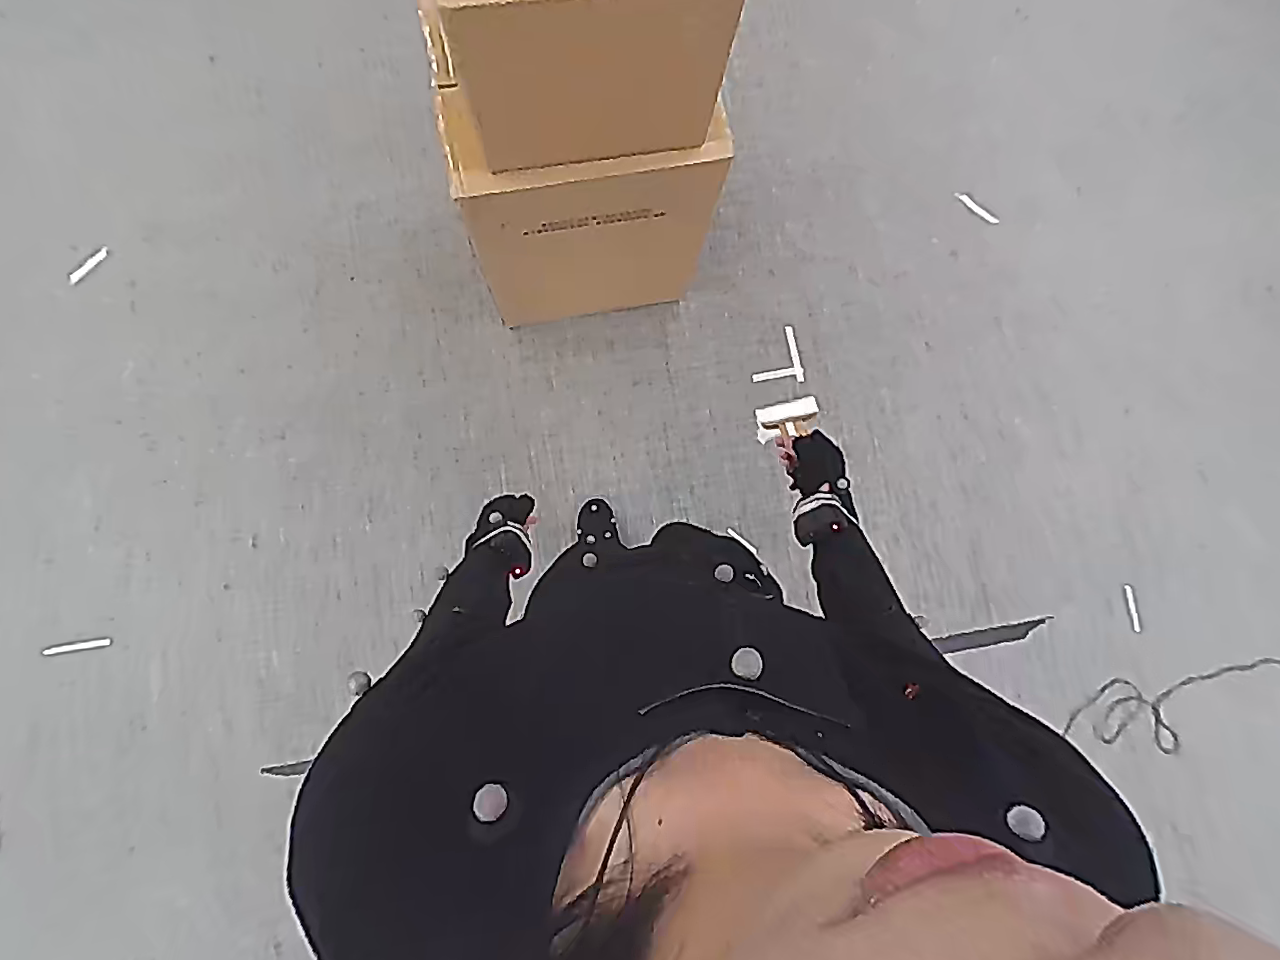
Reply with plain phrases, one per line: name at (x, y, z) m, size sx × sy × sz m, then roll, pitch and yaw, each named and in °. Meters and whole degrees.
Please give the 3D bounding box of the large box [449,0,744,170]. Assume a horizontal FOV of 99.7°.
large box at (-0.091, -0.752, 0.852) m, size 0.408 × 0.320 × 0.320 m, roll -12°, pitch 86°, yaw -7°
